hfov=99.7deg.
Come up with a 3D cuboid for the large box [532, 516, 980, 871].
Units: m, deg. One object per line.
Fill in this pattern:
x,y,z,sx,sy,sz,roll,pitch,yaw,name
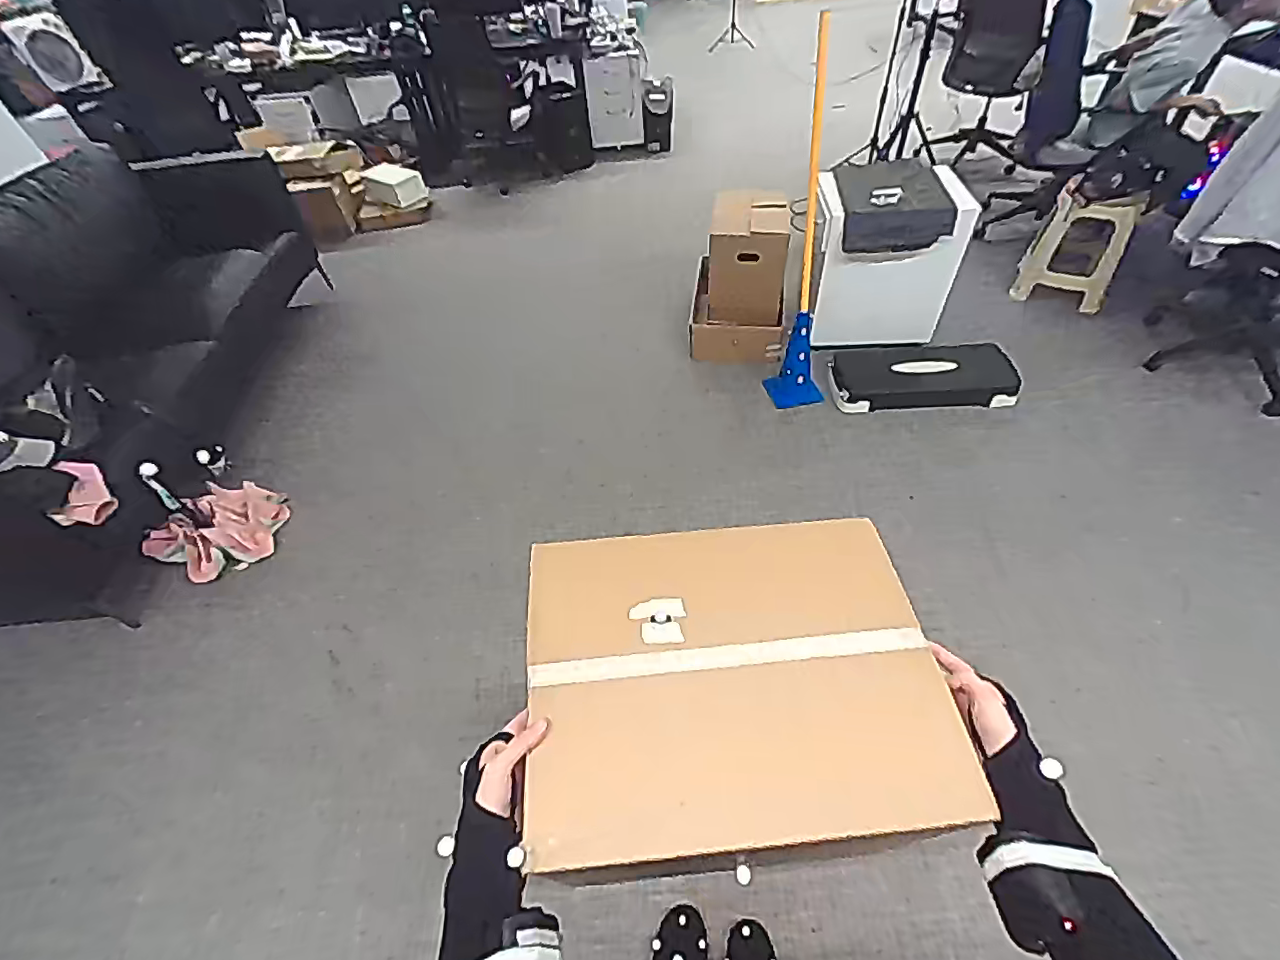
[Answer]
0.096,0.273,0.674,0.408,0.320,0.320,-5,51,-2,large box
